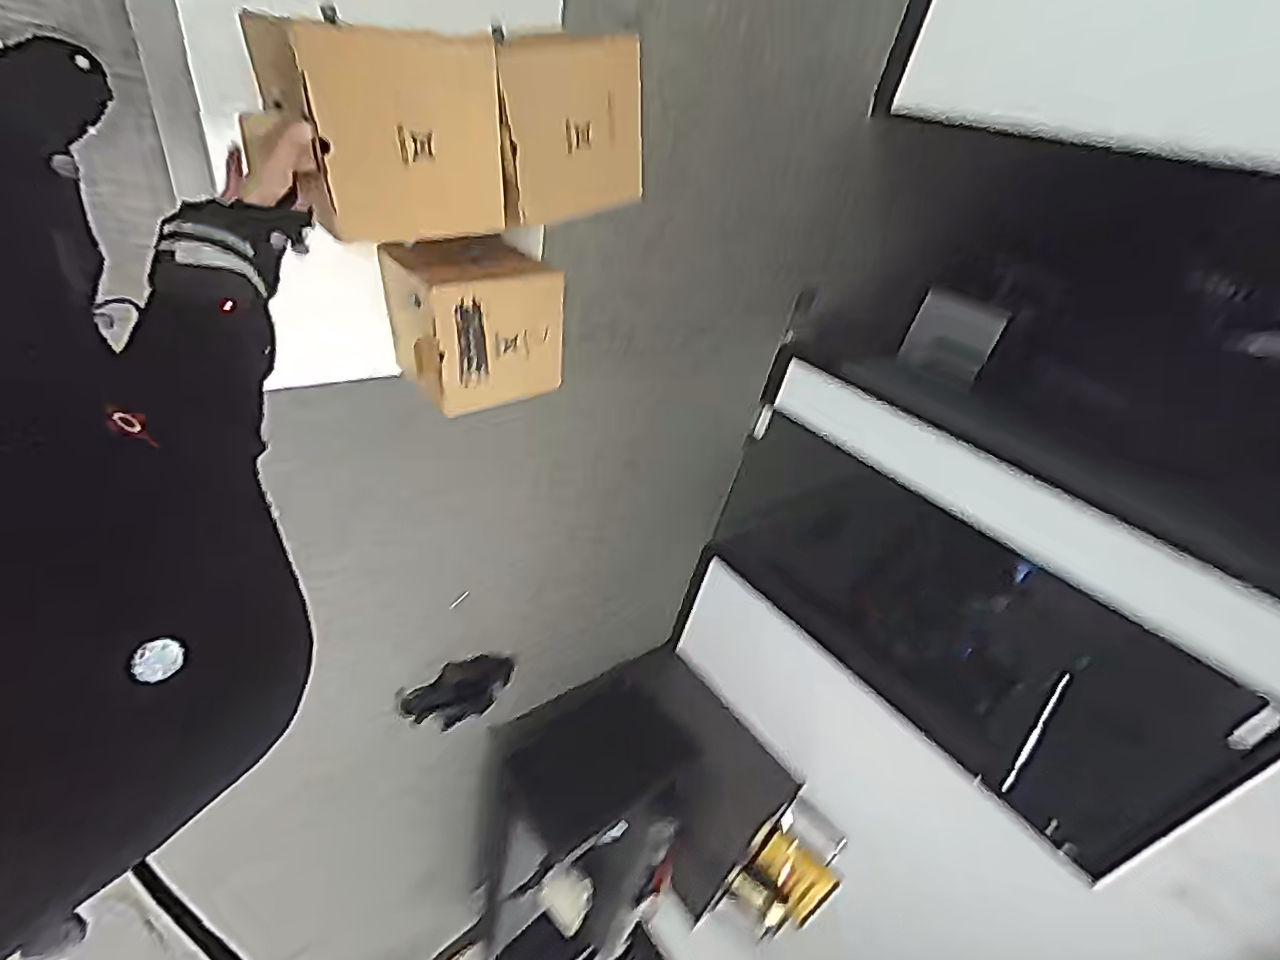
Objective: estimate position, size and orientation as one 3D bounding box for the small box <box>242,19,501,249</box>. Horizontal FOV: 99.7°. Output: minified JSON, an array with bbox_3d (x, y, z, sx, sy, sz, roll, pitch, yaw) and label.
[{"bbox_3d":[-0.264,-0.354,0.555,0.179,0.176,0.168,-25,139,-34],"label":"small box"}]
